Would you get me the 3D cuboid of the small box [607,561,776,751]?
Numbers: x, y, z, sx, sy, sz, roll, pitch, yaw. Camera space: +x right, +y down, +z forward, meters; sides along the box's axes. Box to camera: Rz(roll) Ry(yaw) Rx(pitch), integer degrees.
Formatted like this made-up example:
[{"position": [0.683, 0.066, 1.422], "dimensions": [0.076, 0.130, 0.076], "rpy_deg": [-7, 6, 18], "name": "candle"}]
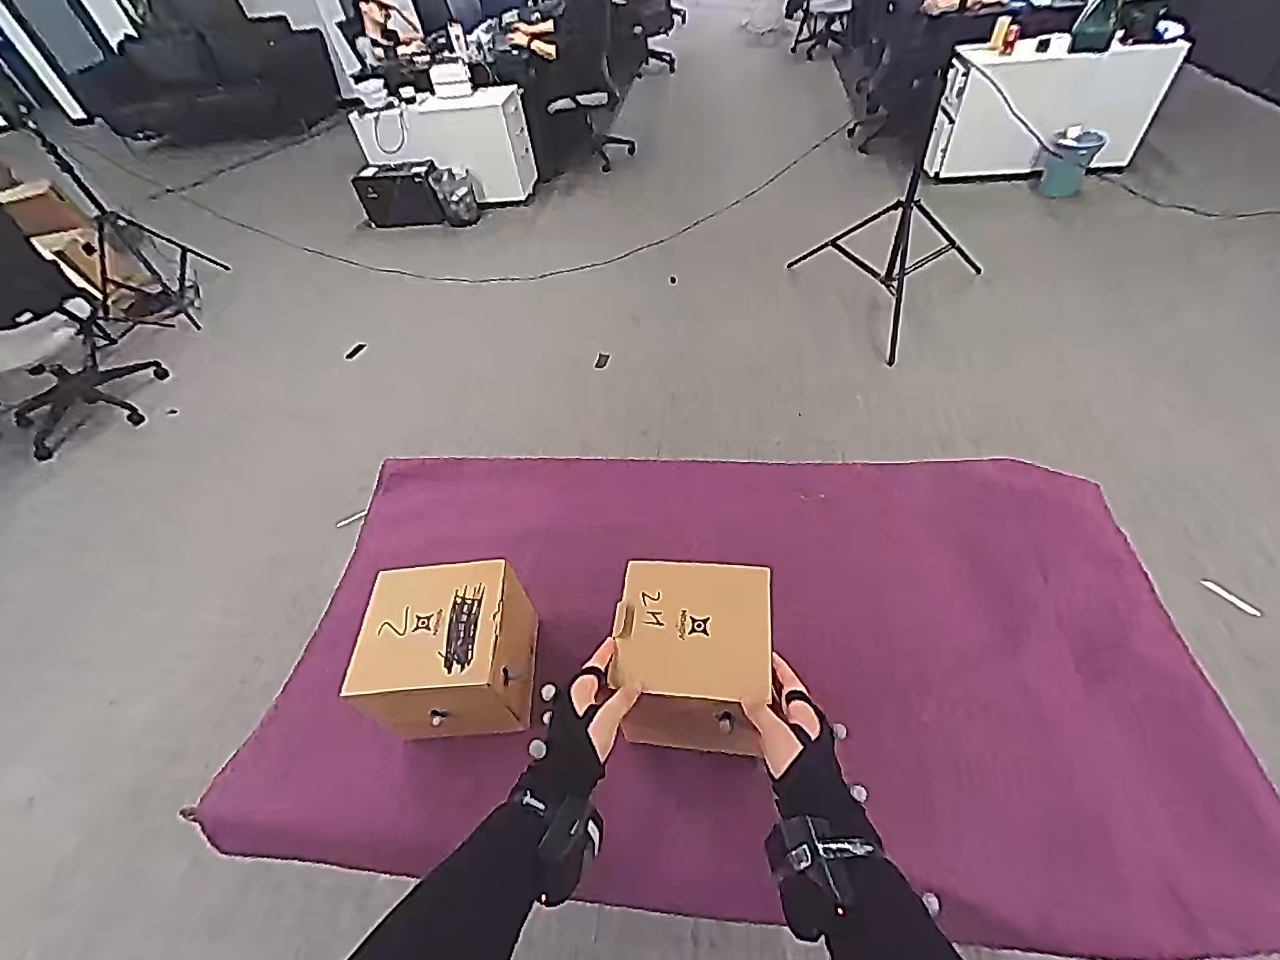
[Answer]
[{"position": [0.072, 0.218, 0.665], "dimensions": [0.179, 0.176, 0.168], "rpy_deg": [1, 47, 12], "name": "small box"}]
